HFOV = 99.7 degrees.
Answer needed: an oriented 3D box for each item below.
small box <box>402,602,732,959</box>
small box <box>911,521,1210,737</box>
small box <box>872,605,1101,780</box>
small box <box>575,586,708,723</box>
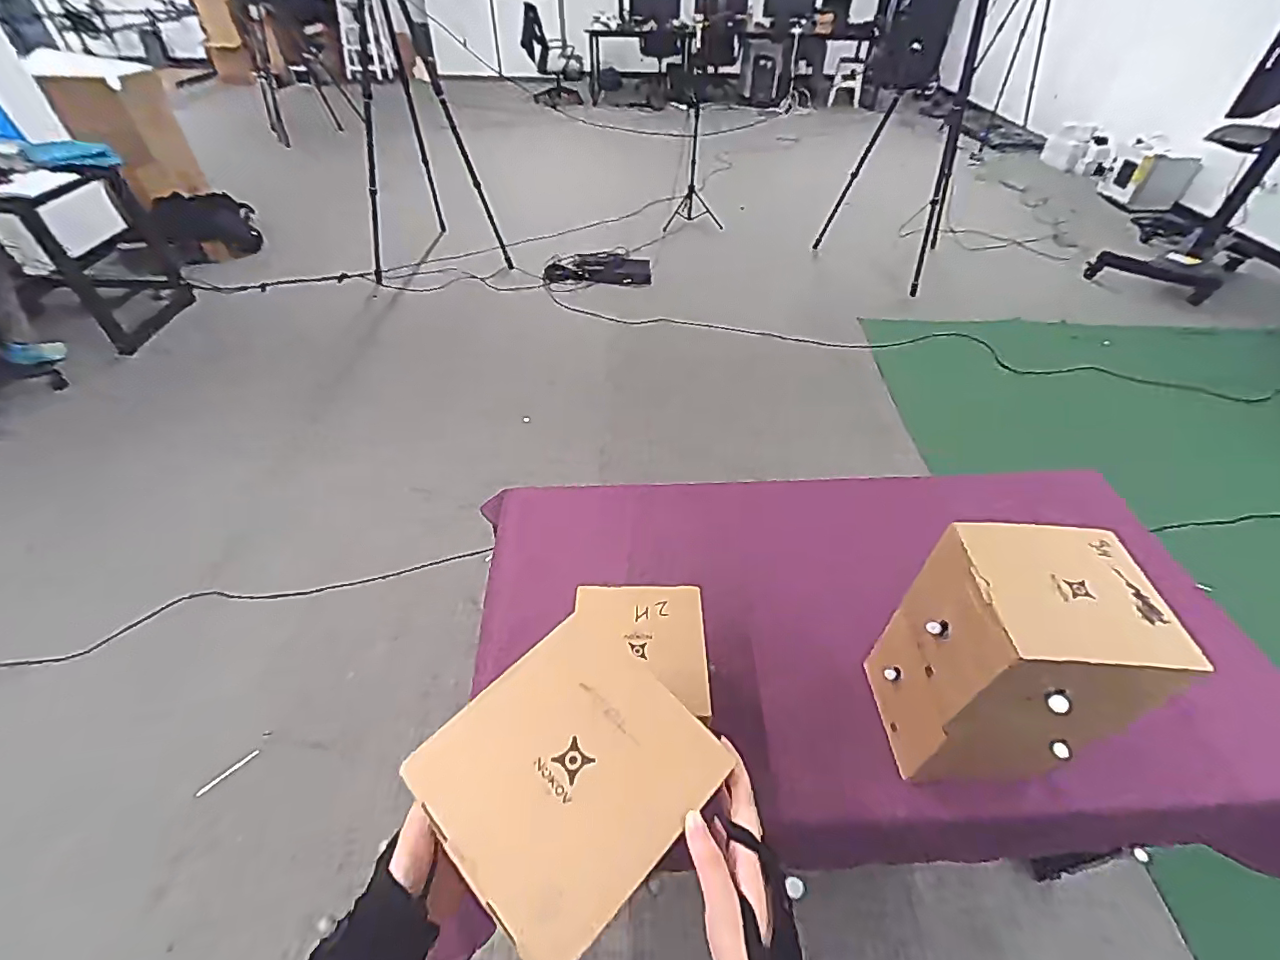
[{"bbox_3d":[-0.051,0.240,0.441,0.179,0.176,0.168,-37,64,-25],"label":"small box"},{"bbox_3d":[0.419,0.163,0.587,0.179,0.176,0.168,3,45,2],"label":"small box"},{"bbox_3d":[0.424,0.277,0.706,0.179,0.176,0.168,0,45,-2],"label":"small box"},{"bbox_3d":[-0.003,0.260,0.715,0.168,0.176,0.179,1,45,-1],"label":"small box"}]
